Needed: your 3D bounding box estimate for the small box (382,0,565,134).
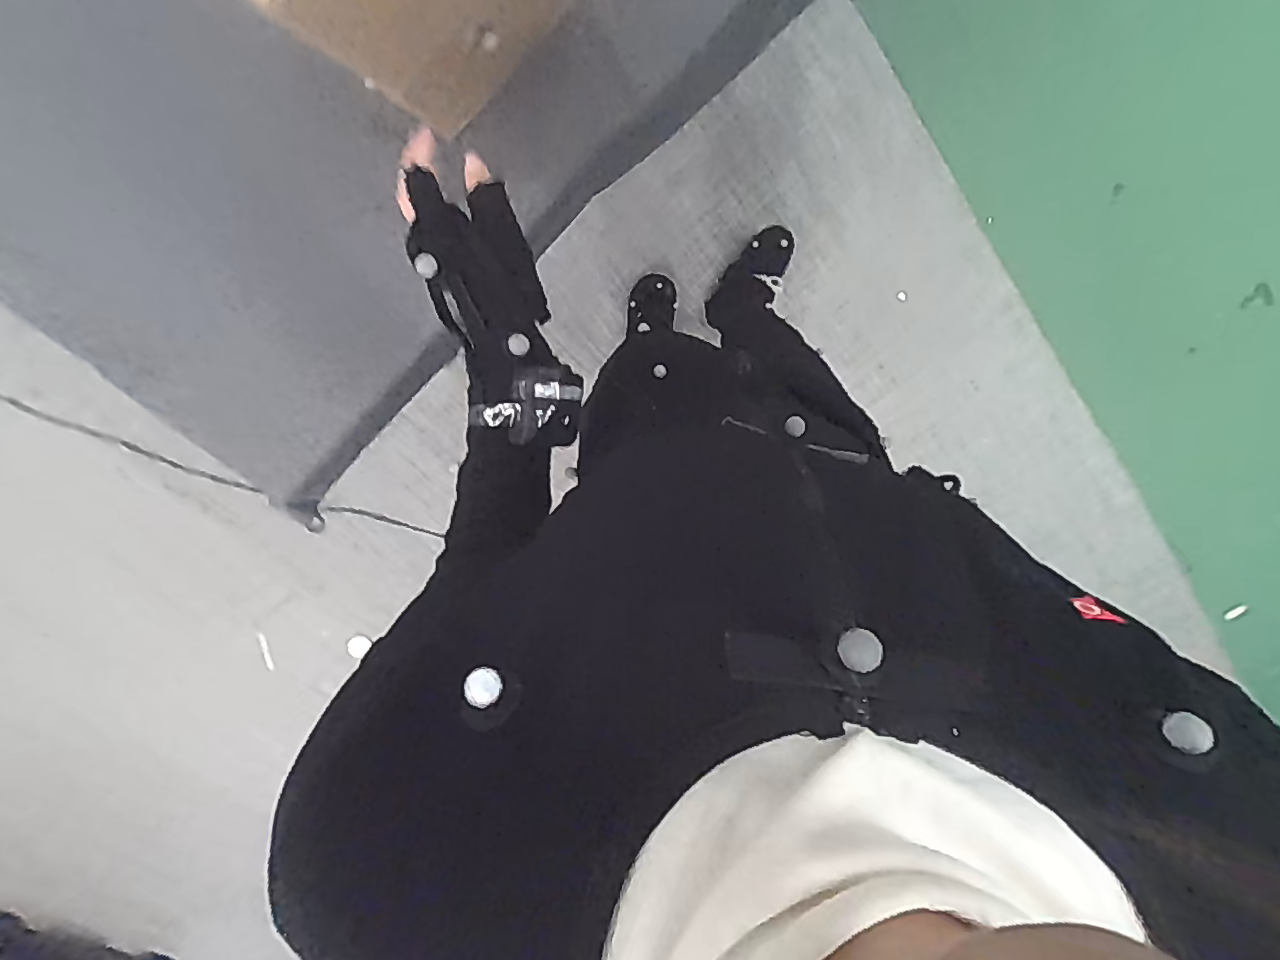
[{"bbox_3d":[-0.174,-0.418,0.429,0.179,0.176,0.168,-41,109,13],"label":"small box"}]
